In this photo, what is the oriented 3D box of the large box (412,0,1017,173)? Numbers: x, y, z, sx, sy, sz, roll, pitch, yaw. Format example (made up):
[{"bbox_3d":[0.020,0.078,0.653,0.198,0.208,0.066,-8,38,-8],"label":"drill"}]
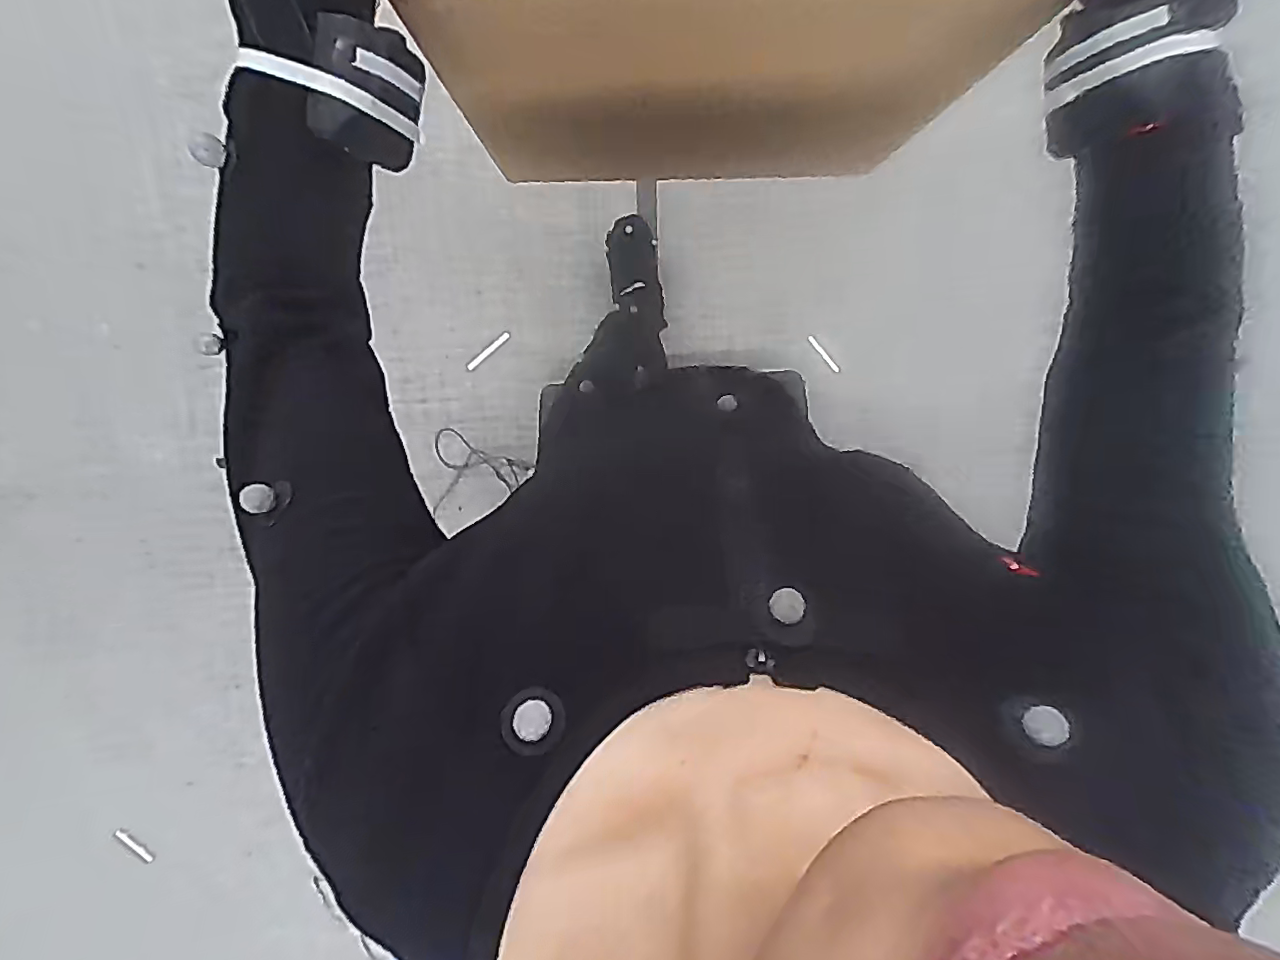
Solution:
[{"bbox_3d":[0.045,-0.469,0.426,0.408,0.320,0.320,-2,101,-1],"label":"large box"}]
